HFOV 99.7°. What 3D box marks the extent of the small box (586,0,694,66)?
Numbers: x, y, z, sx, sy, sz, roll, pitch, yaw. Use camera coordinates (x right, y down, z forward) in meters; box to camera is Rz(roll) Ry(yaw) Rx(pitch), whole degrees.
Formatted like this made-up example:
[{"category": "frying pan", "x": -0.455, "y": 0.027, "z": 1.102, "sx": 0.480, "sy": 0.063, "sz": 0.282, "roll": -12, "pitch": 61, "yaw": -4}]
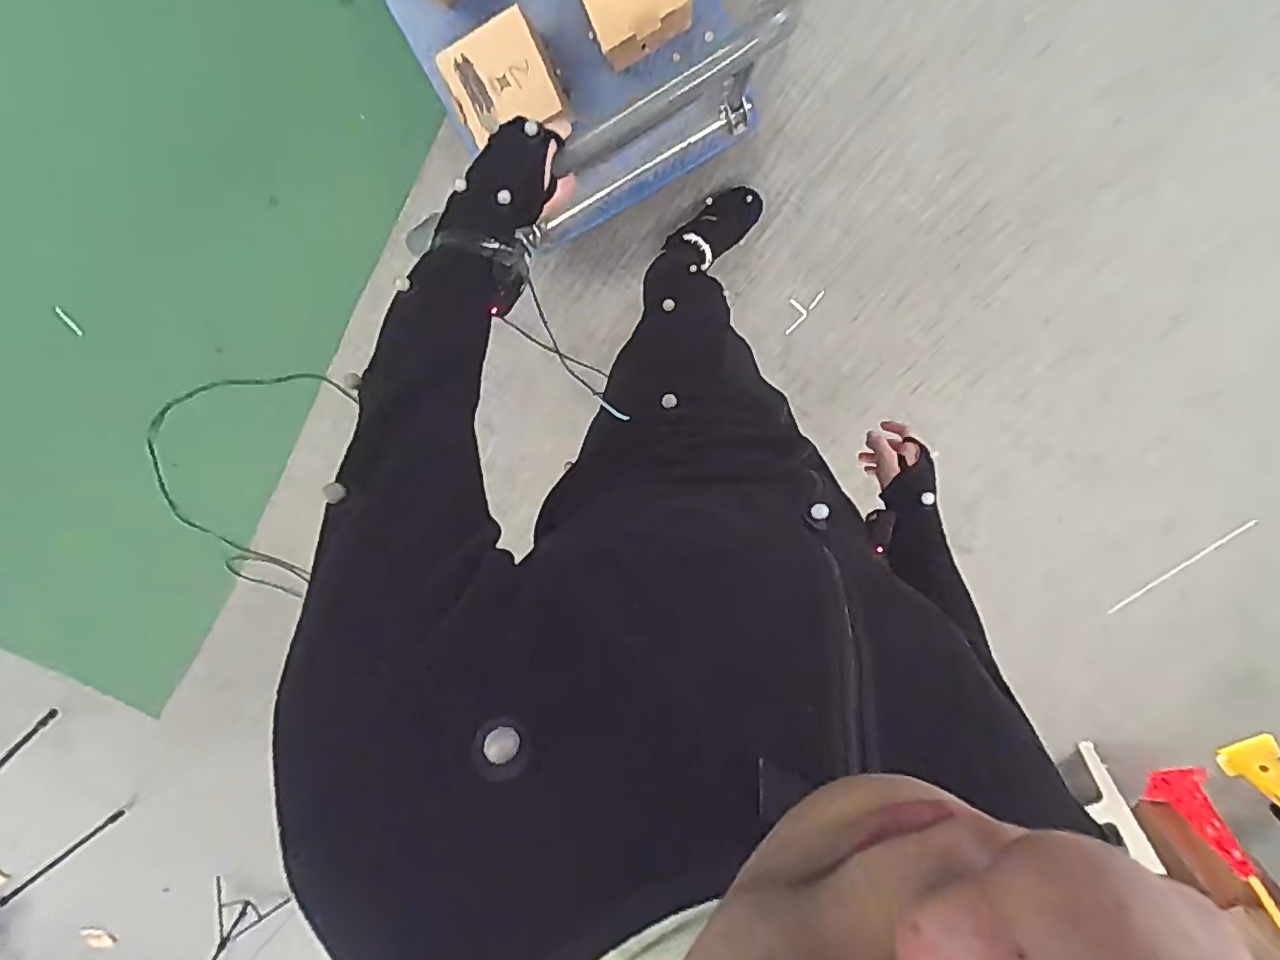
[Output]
[{"category": "small box", "x": -0.016, "y": -0.871, "z": 0.943, "sx": 0.168, "sy": 0.176, "sz": 0.179, "roll": -21, "pitch": 116, "yaw": 15}]
